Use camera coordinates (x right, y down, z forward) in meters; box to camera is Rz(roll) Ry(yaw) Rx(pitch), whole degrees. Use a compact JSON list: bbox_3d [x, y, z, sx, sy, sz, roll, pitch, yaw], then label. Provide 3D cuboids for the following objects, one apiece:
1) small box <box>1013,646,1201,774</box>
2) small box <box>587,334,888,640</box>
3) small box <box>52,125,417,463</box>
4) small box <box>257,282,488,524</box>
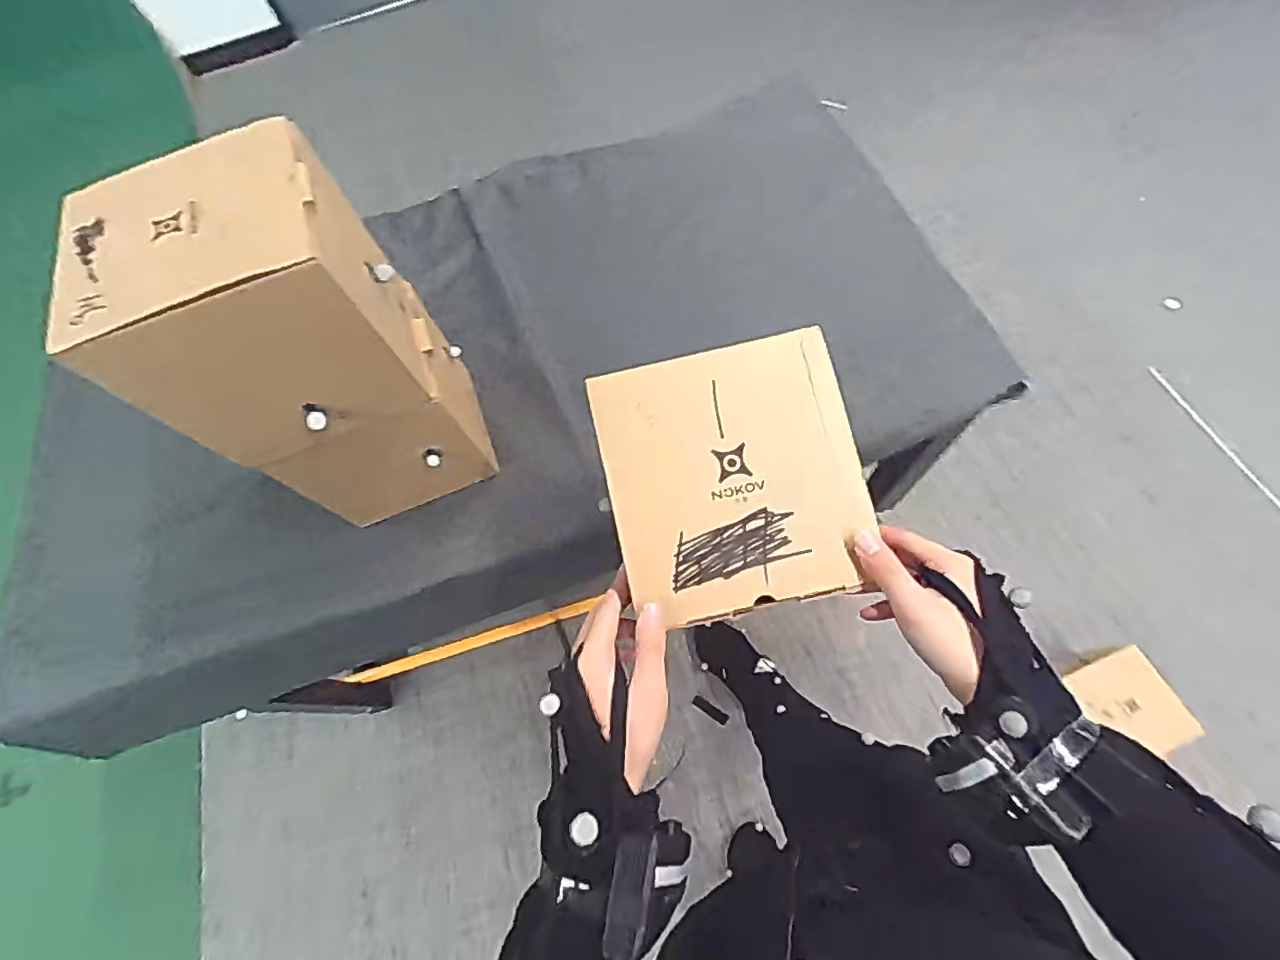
[{"bbox_3d":[0.873,0.436,1.034,0.179,0.176,0.168,-24,65,-4],"label":"small box"},{"bbox_3d":[0.064,0.012,0.428,0.168,0.176,0.179,-12,81,1],"label":"small box"},{"bbox_3d":[-0.307,-0.141,0.448,0.179,0.176,0.168,-22,65,-4],"label":"small box"},{"bbox_3d":[-0.285,-0.075,0.597,0.179,0.176,0.168,-23,64,-3],"label":"small box"}]
